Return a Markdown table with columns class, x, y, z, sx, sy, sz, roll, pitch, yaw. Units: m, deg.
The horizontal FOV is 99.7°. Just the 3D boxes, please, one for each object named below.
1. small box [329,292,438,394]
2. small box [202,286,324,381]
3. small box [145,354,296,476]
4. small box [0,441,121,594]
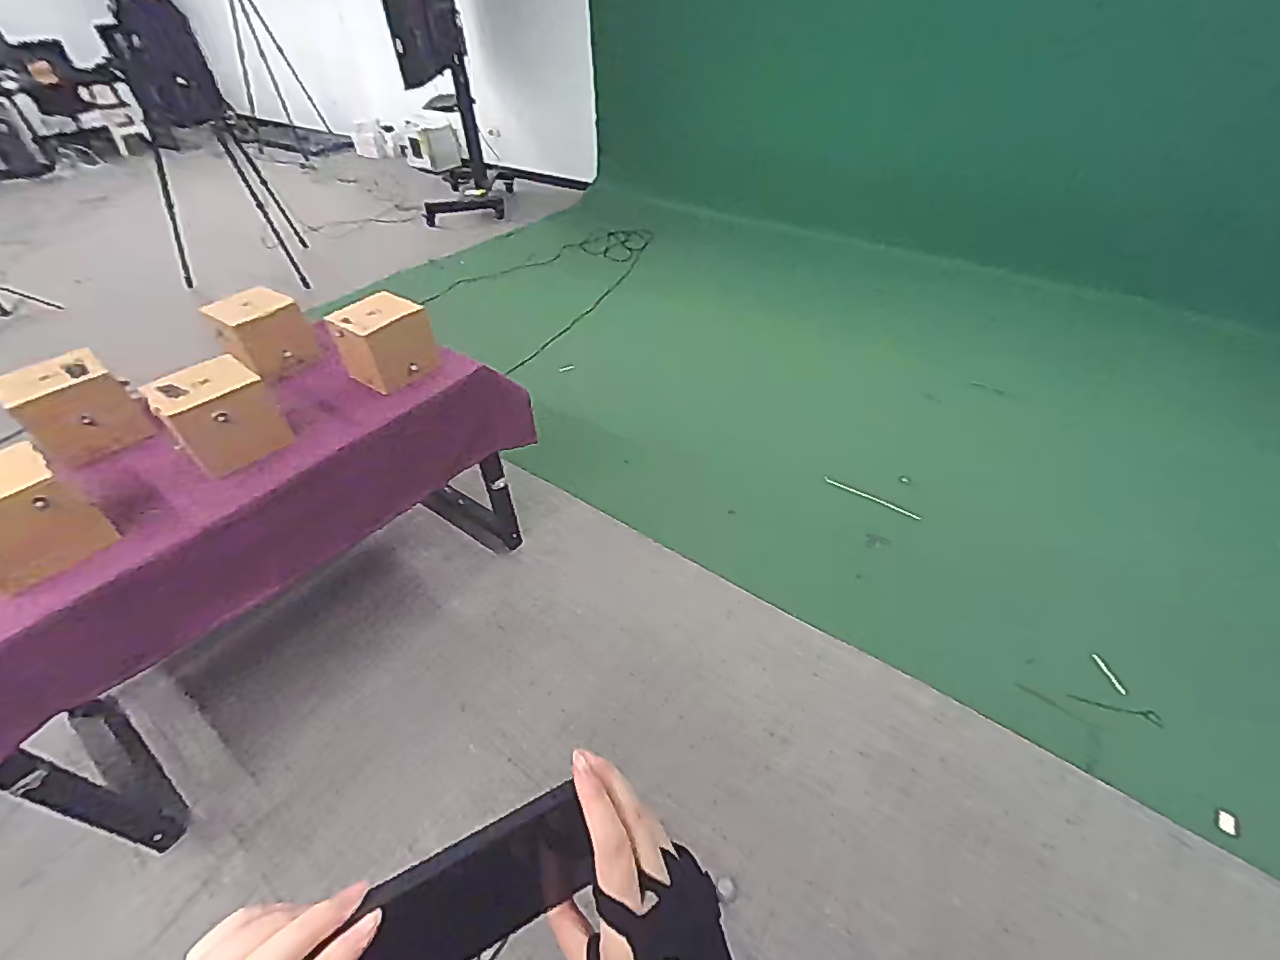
| class | x | y | z | sx | sy | sz | roll | pitch | yaw |
| --- | --- | --- | --- | --- | --- | --- | --- | --- | --- |
| small box | -0.637 | -0.348 | 1.371 | 0.168 | 0.176 | 0.179 | 25 | 50 | 26 |
| small box | -0.978 | -0.381 | 1.415 | 0.179 | 0.176 | 0.168 | 25 | 50 | 25 |
| small box | -0.888 | -0.138 | 1.158 | 0.168 | 0.176 | 0.179 | 30 | 51 | 28 |
| small box | -1.088 | 0.066 | 0.950 | 0.168 | 0.176 | 0.179 | 28 | 50 | 28 |
